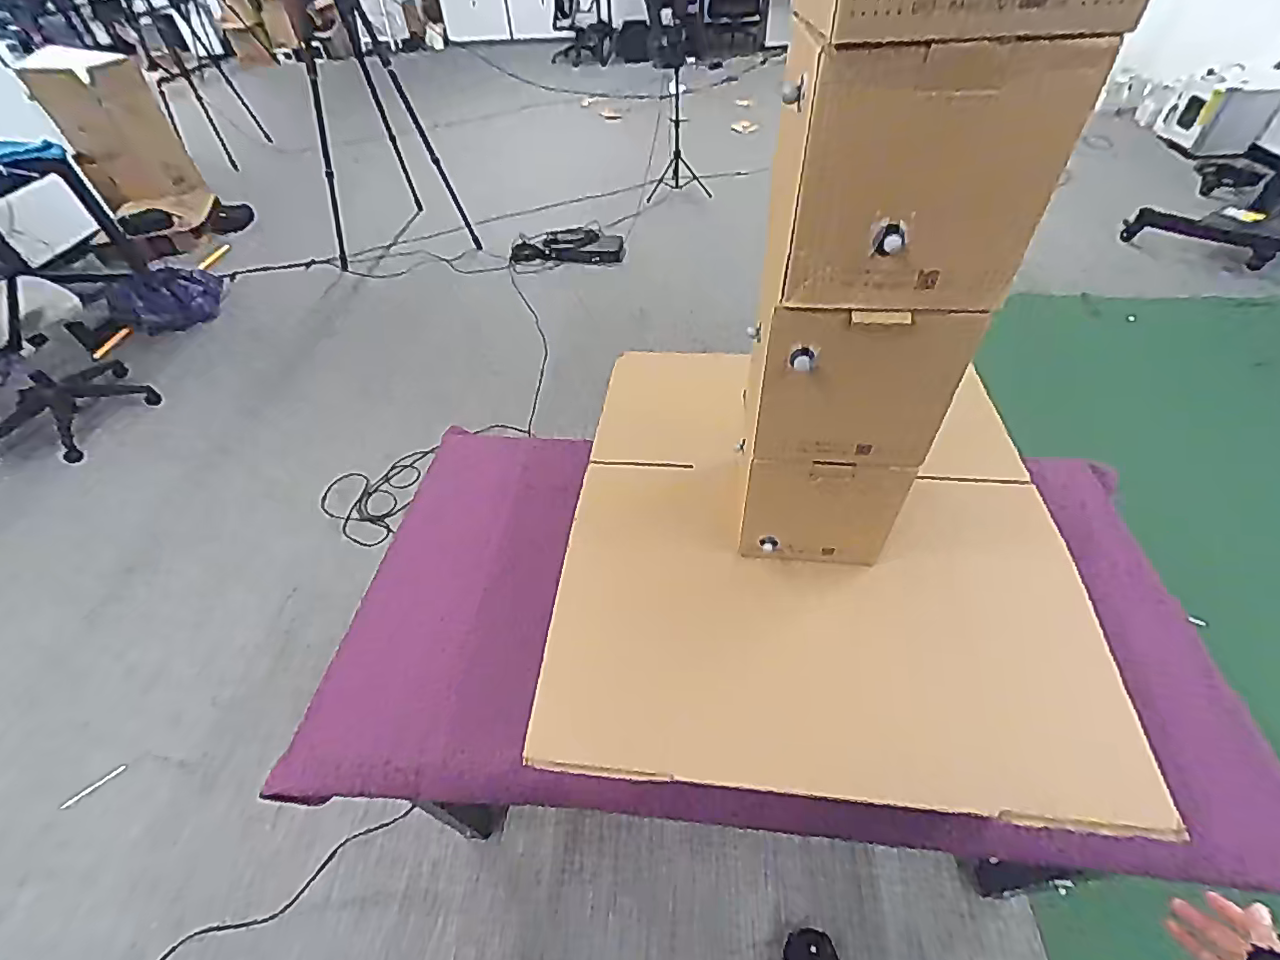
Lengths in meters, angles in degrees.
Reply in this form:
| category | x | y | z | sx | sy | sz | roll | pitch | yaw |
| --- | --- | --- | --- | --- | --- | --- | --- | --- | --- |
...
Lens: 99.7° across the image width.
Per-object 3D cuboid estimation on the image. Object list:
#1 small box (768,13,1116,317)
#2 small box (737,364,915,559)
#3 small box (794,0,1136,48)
| category | x | y | z | sx | sy | sz | roll | pitch | yaw |
| --- | --- | --- | --- | --- | --- | --- | --- | --- | --- |
| small box | 0.197 | -0.248 | 0.424 | 0.168 | 0.176 | 0.179 | 2 | 47 | 6 |
| small box | 0.209 | -0.021 | 0.659 | 0.168 | 0.176 | 0.179 | 3 | 46 | 7 |
| small box | 0.189 | -0.360 | 0.303 | 0.168 | 0.176 | 0.179 | 1 | 47 | 5 |
